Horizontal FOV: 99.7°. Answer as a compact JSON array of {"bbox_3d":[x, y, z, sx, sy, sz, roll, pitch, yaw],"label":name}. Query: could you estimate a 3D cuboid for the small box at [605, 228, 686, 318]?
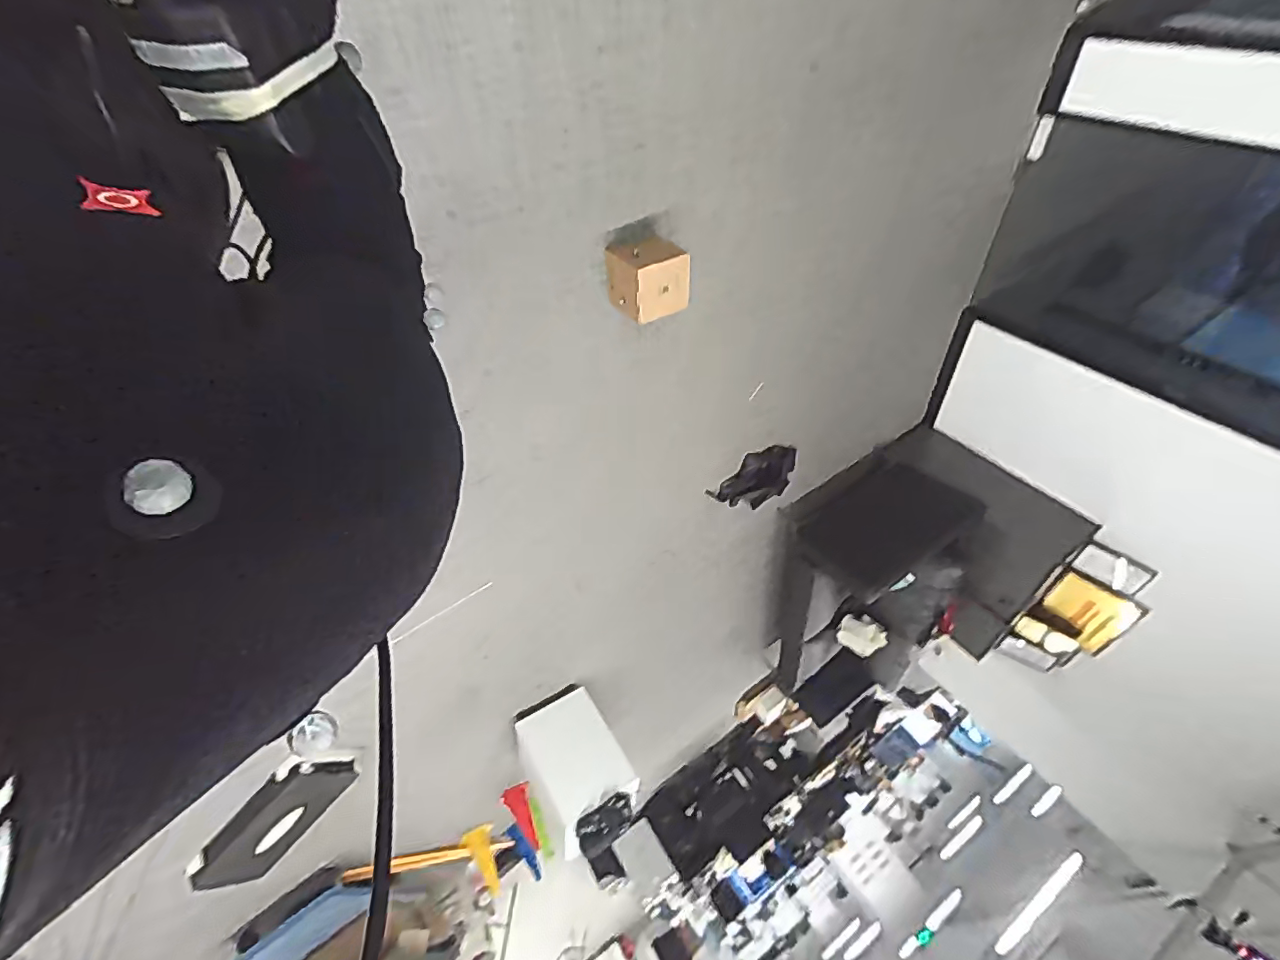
[{"bbox_3d":[0.010,-0.593,1.540,0.179,0.176,0.168,-28,143,-22],"label":"small box"}]
